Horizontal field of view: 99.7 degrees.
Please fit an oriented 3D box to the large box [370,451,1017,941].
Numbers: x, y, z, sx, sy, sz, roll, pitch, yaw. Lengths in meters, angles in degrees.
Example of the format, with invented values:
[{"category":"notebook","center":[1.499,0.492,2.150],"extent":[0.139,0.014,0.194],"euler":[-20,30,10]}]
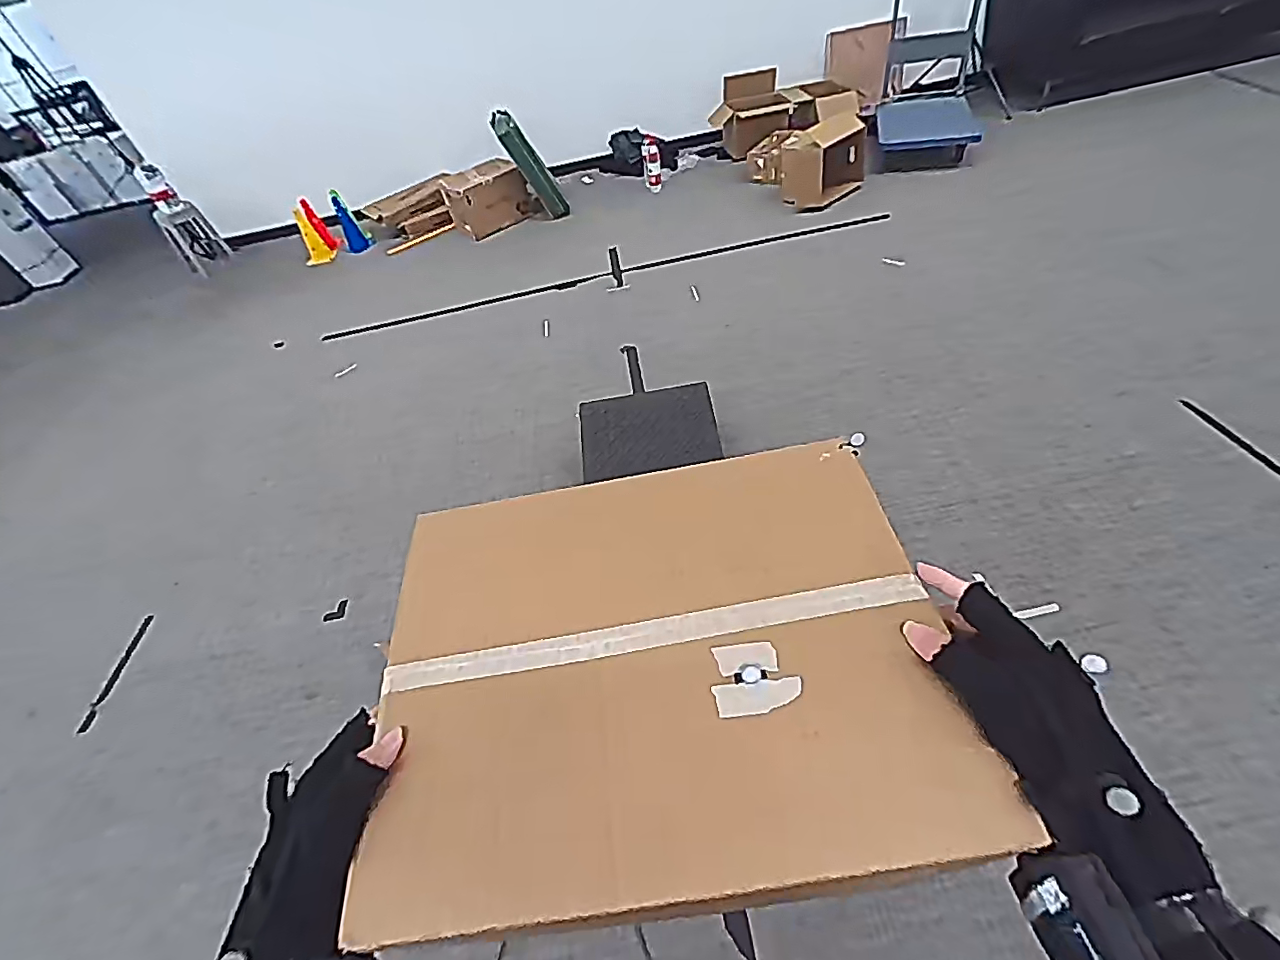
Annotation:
[{"category":"large box","center":[0.031,0.218,0.529],"extent":[0.408,0.320,0.320],"euler":[-10,50,2]}]
